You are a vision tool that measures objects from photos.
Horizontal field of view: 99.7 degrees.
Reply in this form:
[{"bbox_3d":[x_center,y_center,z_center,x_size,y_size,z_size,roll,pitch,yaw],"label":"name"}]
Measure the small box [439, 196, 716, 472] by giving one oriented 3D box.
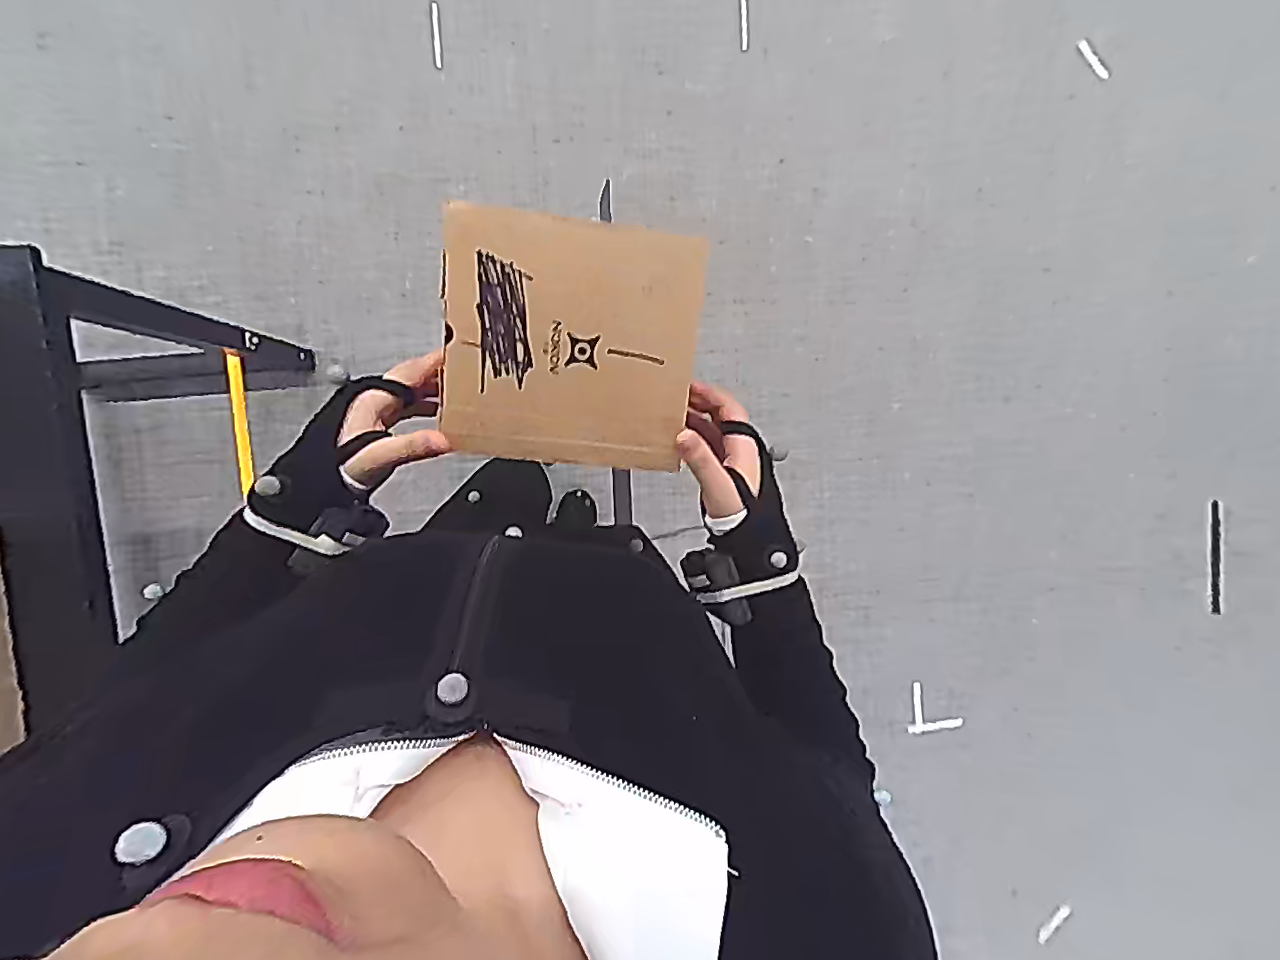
[{"bbox_3d":[-0.051,-0.112,0.443,0.179,0.176,0.168,5,105,-6],"label":"small box"}]
